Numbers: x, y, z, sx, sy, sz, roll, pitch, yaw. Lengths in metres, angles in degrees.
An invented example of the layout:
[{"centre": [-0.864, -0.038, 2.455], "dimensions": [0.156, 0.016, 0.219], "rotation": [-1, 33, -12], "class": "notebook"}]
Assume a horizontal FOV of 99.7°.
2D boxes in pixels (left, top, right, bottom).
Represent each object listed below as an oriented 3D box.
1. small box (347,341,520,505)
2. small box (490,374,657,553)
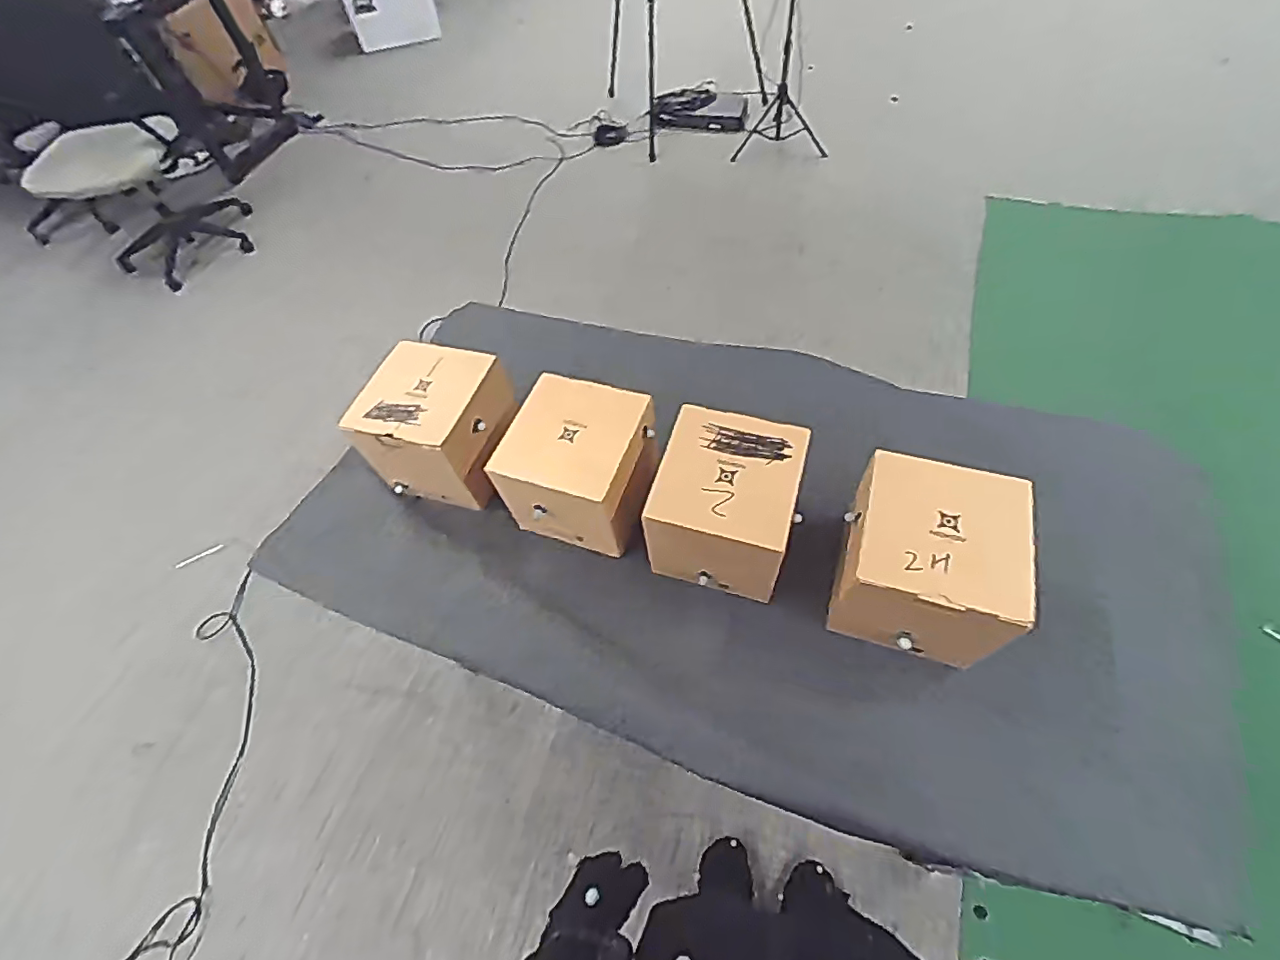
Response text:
[{"centre": [-0.297, -0.083, 0.834], "dimensions": [0.168, 0.176, 0.179], "rotation": [12, 58, 13], "class": "small box"}, {"centre": [-0.079, -0.019, 0.771], "dimensions": [0.168, 0.176, 0.179], "rotation": [15, 59, 15], "class": "small box"}]
